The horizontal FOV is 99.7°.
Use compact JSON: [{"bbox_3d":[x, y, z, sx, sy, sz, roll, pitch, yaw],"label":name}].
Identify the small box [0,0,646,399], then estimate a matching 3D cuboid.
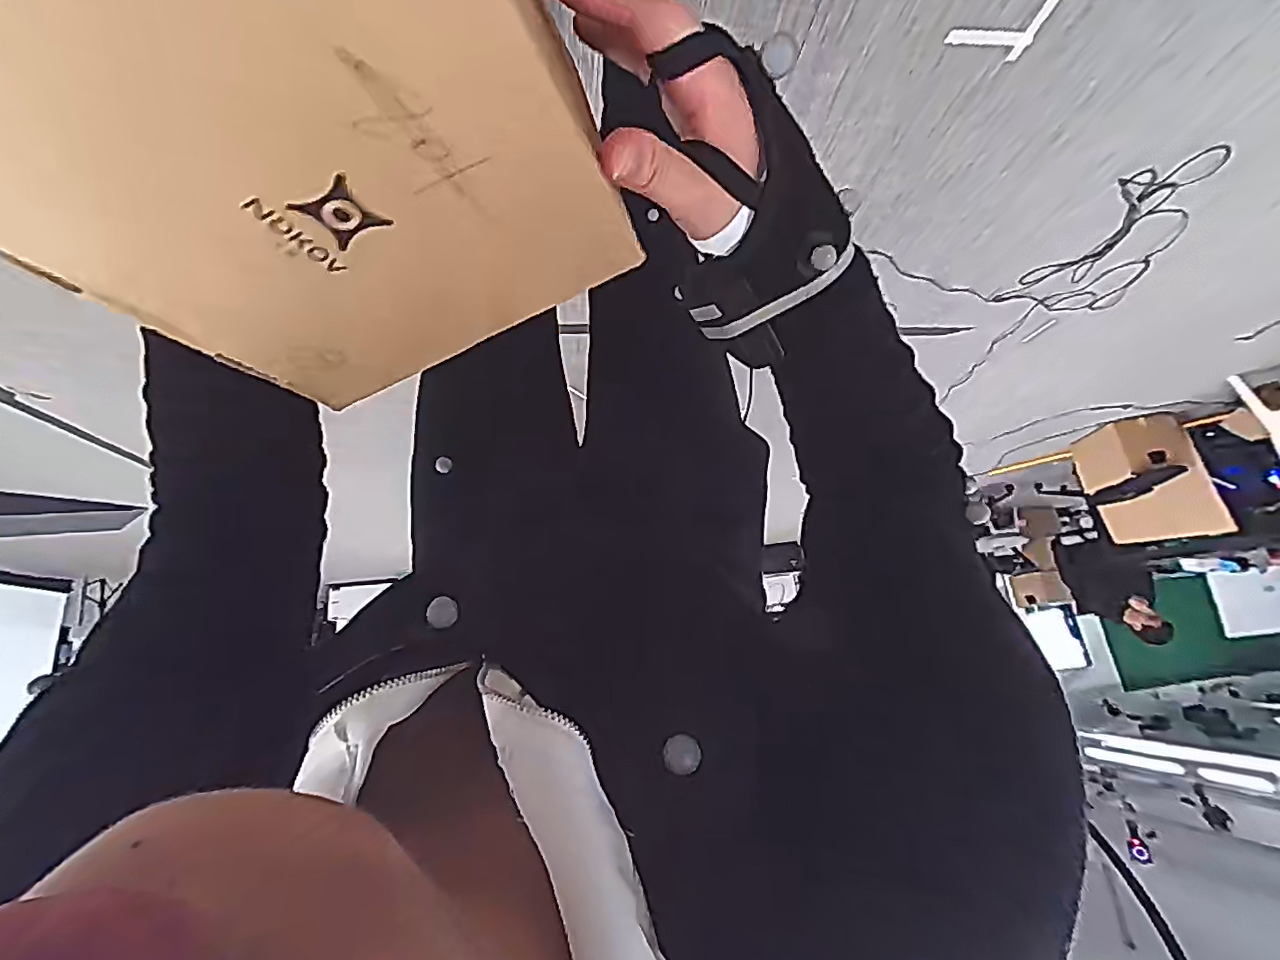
[{"bbox_3d":[-0.121,-0.168,0.224,0.179,0.176,0.168,-23,158,12],"label":"small box"}]
